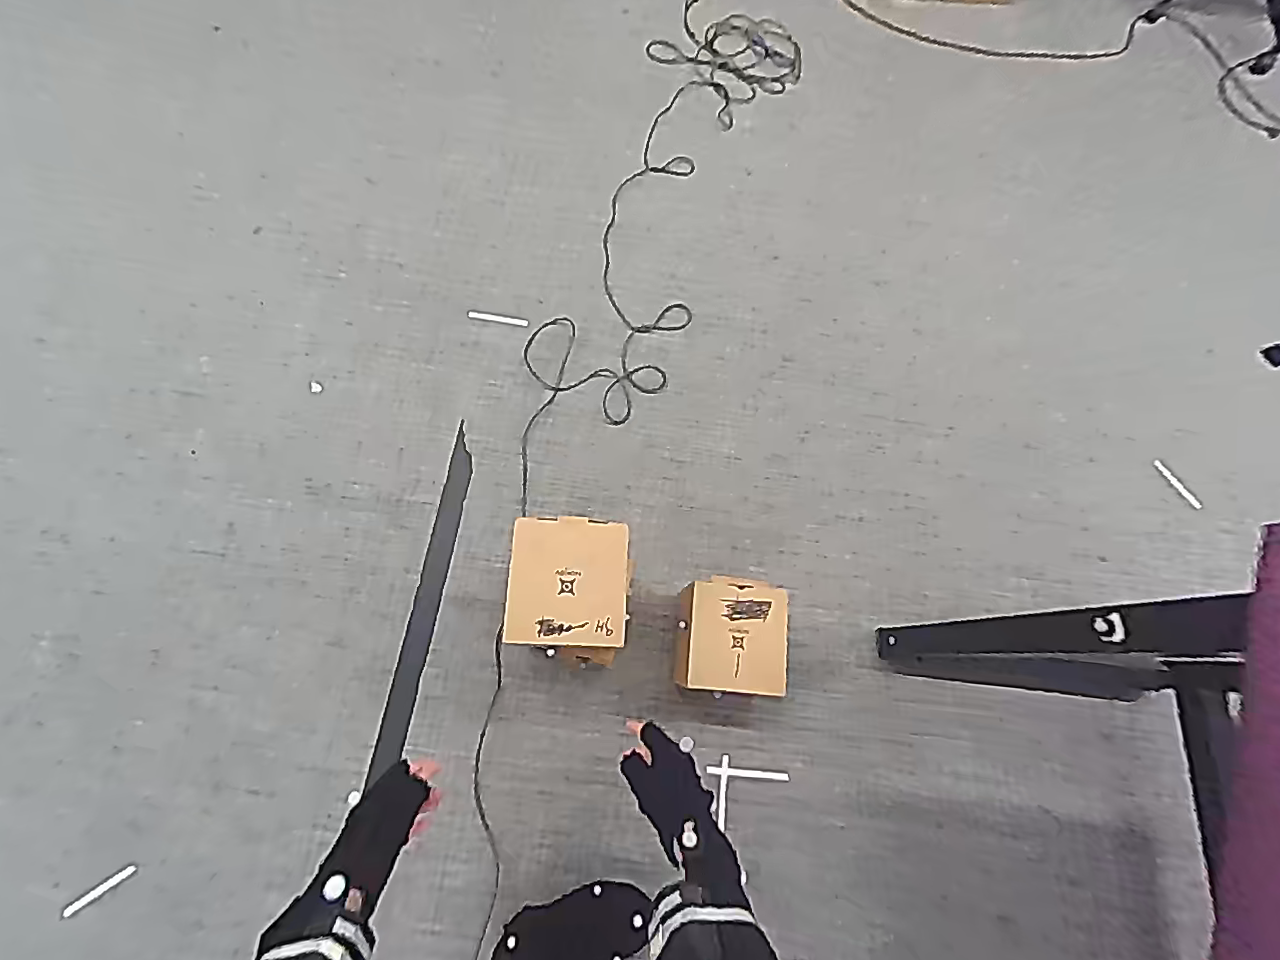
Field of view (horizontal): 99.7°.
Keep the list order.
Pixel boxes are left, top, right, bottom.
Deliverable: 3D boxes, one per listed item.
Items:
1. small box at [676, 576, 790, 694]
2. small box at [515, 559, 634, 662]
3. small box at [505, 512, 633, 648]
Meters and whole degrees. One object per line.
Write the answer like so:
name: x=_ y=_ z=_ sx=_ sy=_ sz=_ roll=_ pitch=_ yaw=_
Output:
small box: x=0.161 y=0.280 z=0.974 sx=0.168 sy=0.176 sz=0.179 roll=7 pitch=72 yaw=-2
small box: x=-0.112 y=0.222 z=0.973 sx=0.168 sy=0.176 sz=0.179 roll=13 pitch=70 yaw=-1
small box: x=-0.103 y=0.158 z=0.822 sx=0.168 sy=0.176 sz=0.179 roll=4 pitch=71 yaw=-5
